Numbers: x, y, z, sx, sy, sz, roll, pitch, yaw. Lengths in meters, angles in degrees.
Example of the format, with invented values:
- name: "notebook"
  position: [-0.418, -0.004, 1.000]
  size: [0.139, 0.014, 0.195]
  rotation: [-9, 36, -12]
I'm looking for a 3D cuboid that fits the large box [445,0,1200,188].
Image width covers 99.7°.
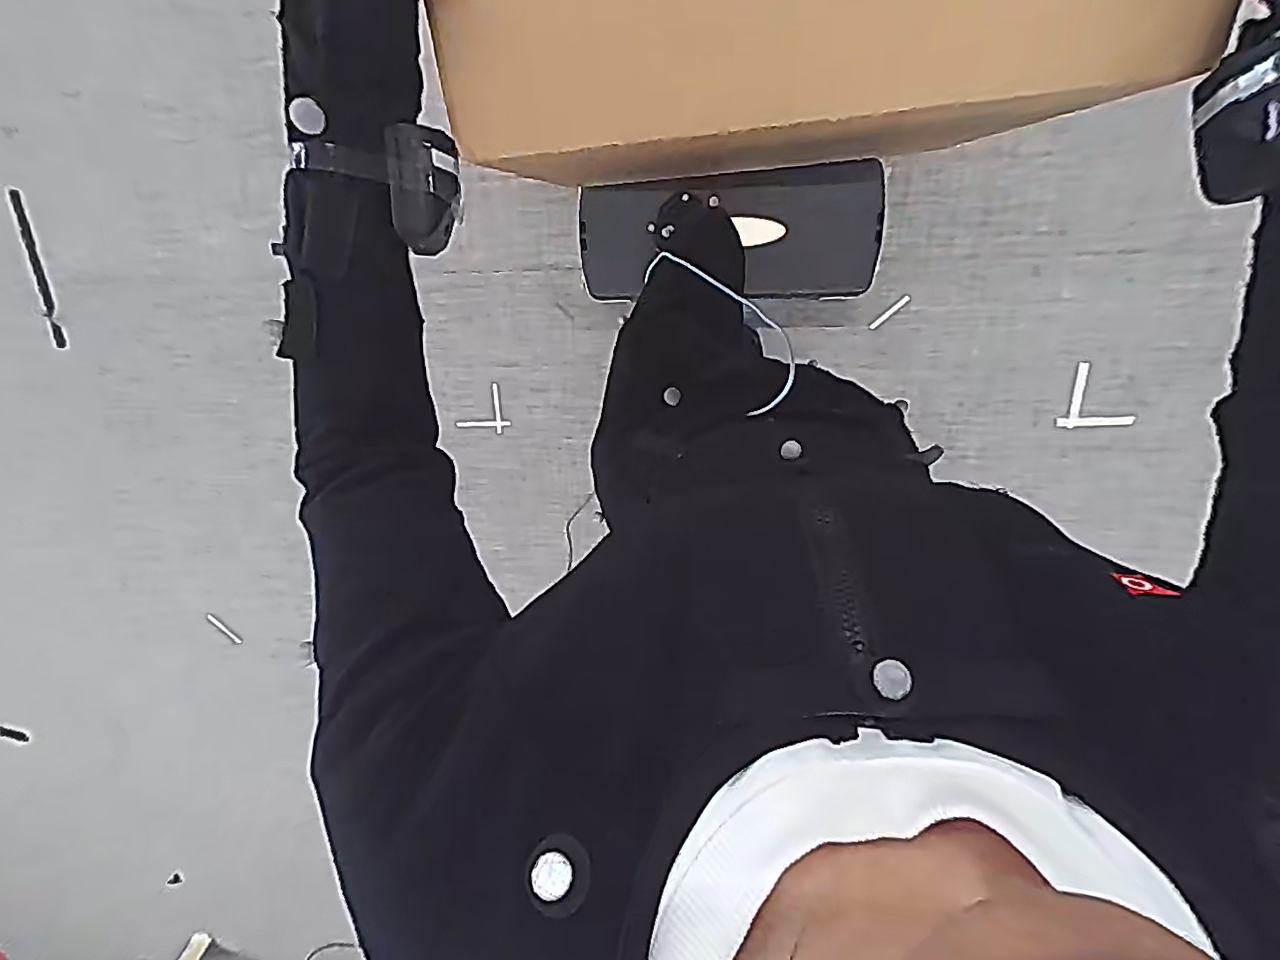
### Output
- name: "large box"
  position: [0.088, -0.412, 0.382]
  size: [0.408, 0.320, 0.320]
  rotation: [-3, 116, 6]
